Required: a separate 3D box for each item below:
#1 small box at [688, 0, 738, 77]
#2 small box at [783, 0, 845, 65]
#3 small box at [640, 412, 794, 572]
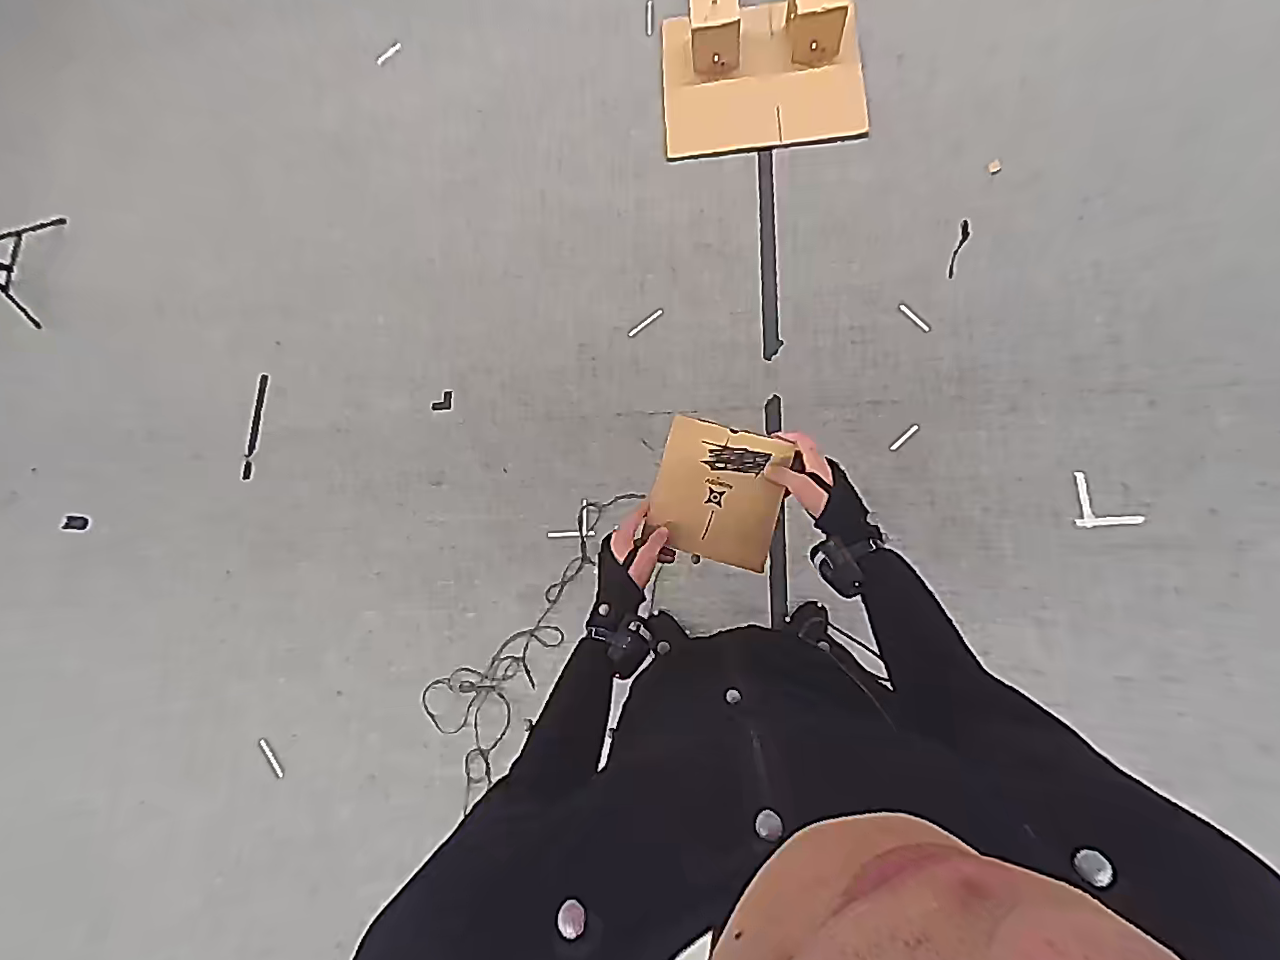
[{"bbox_3d":[0.257,-1.585,1.916,0.168,0.176,0.179,-3,78,8],"label":"small box"},{"bbox_3d":[0.598,-1.598,1.876,0.168,0.176,0.179,-7,78,7],"label":"small box"},{"bbox_3d":[0.108,0.021,0.777,0.168,0.176,0.179,15,86,9],"label":"small box"}]
